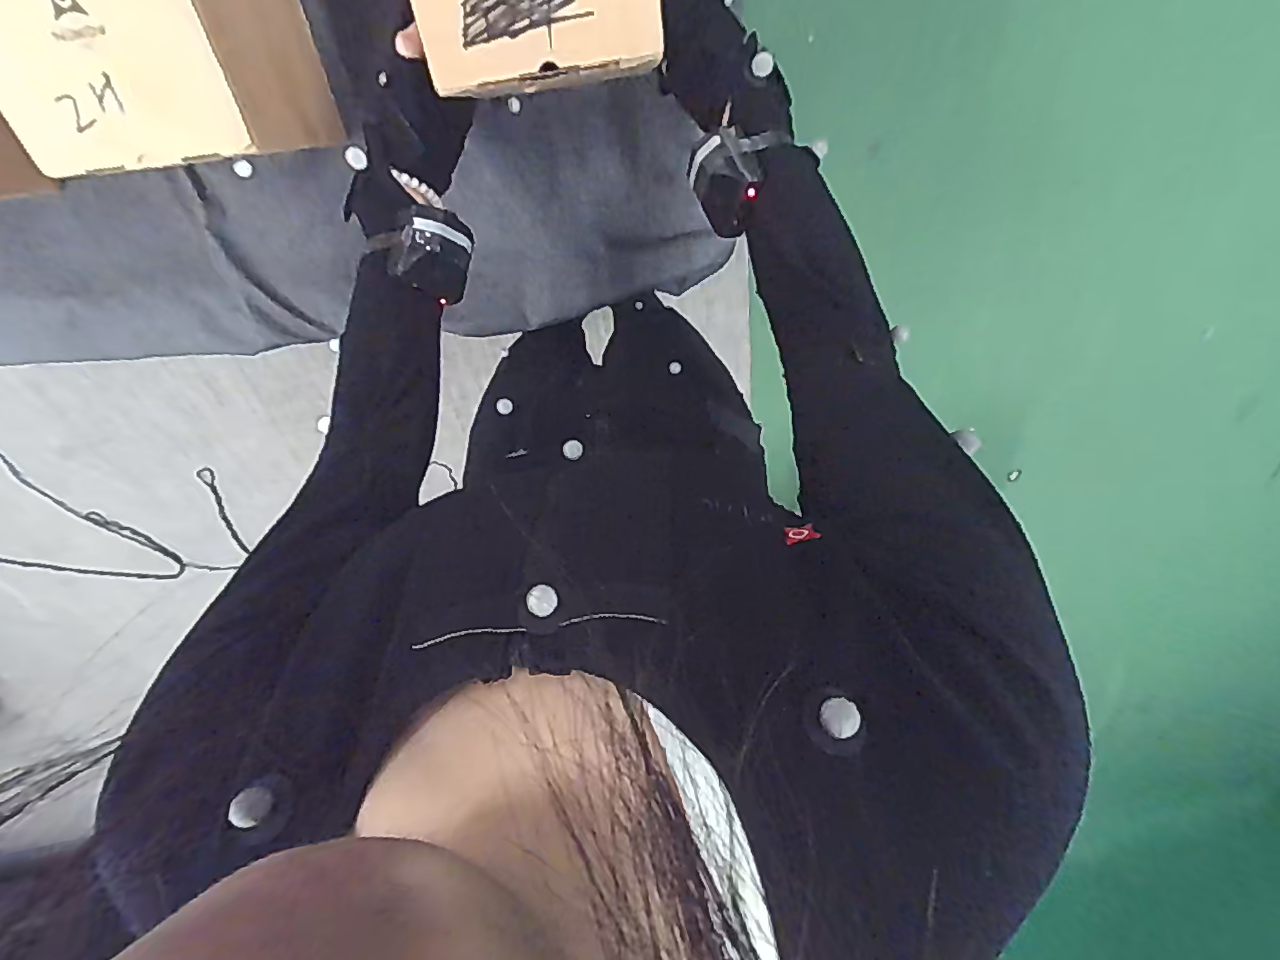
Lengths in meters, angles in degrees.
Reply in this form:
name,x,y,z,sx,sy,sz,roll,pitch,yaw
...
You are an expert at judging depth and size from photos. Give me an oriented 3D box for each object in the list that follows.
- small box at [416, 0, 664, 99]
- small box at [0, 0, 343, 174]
name,x,y,z,sx,sy,sz,roll,pitch,yaw
small box,-0.074,-0.399,0.400,0.168,0.176,0.179,-8,124,2
small box,-0.369,-0.349,0.416,0.168,0.176,0.179,-6,125,1
